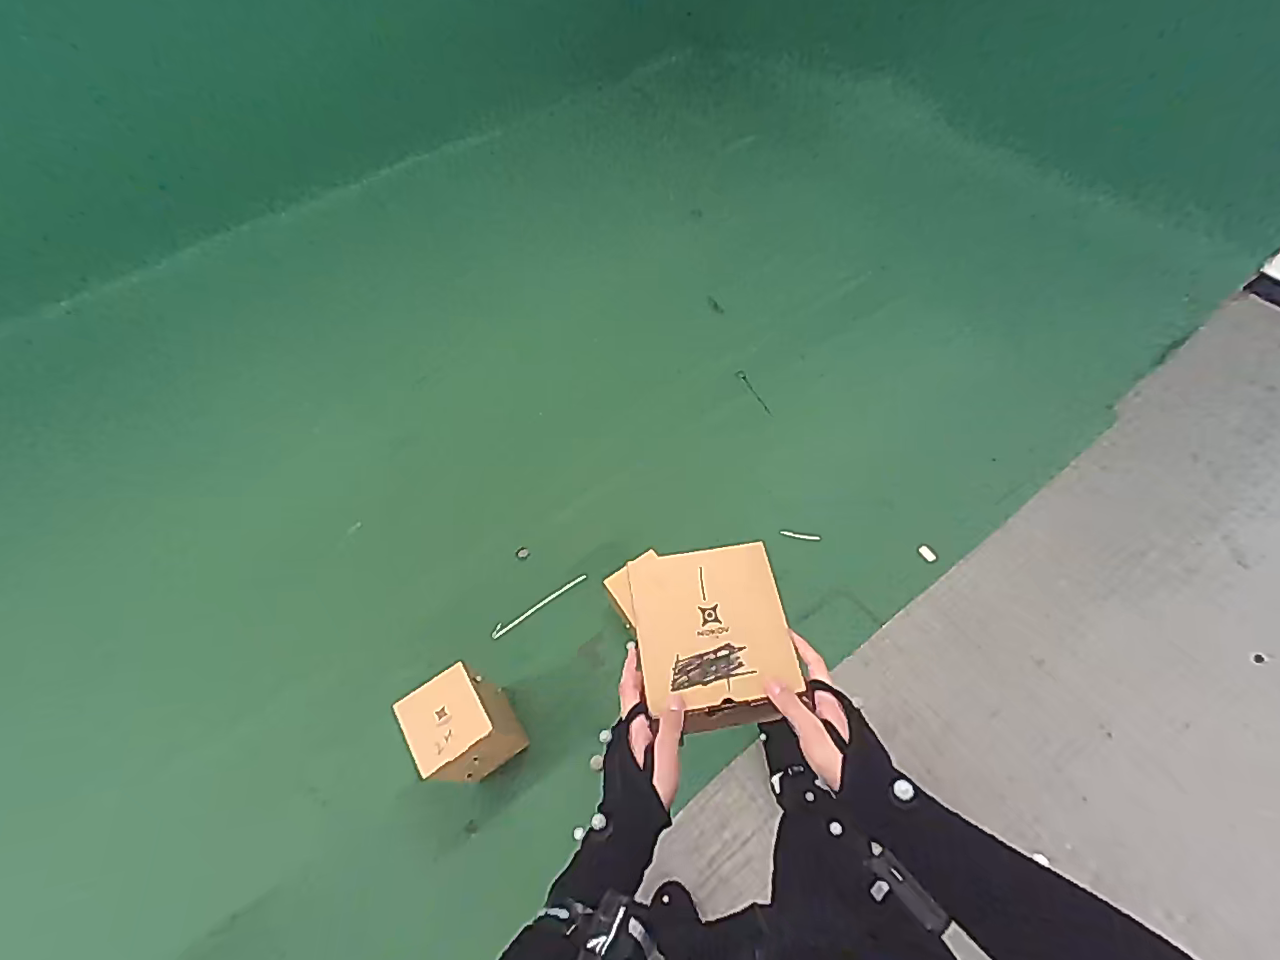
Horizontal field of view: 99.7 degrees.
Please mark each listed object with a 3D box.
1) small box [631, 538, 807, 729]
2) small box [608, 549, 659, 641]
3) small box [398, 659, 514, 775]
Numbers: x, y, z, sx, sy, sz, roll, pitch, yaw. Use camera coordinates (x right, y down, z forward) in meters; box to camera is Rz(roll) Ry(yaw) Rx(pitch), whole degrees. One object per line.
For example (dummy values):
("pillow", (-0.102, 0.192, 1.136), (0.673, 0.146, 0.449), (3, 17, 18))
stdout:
("small box", (0.084, 0.193, 0.657), (0.168, 0.176, 0.179), (-8, 57, -3))
("small box", (0.027, 0.329, 1.512), (0.168, 0.176, 0.179), (-32, 64, -15))
("small box", (-0.410, 0.541, 1.222), (0.168, 0.176, 0.179), (-31, 63, -13))
